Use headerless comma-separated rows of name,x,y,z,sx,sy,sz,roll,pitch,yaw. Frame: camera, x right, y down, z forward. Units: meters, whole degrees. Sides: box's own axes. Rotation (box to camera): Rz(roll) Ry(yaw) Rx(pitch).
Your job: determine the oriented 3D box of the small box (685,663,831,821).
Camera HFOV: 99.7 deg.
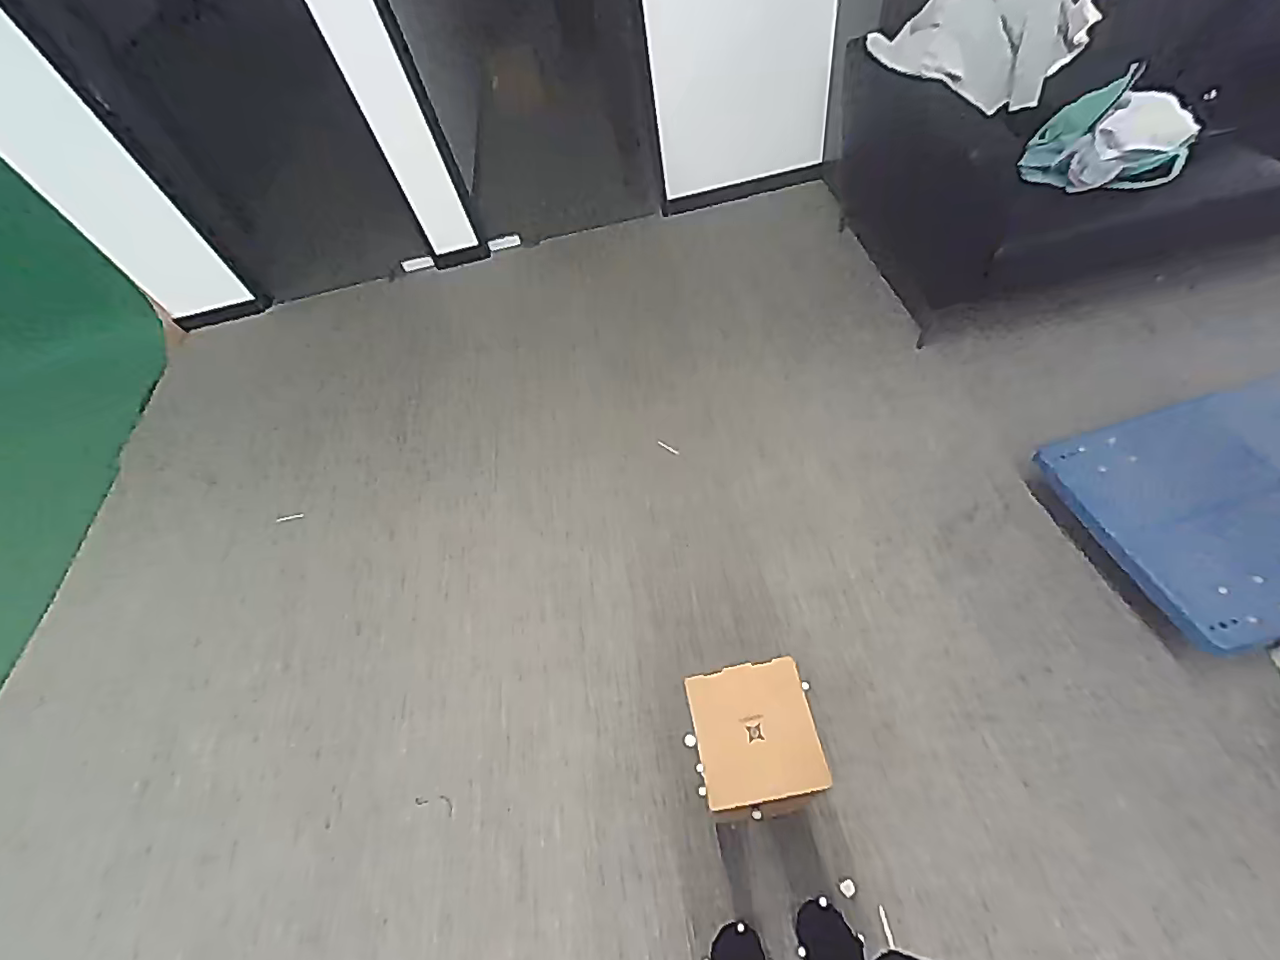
small box,0.170,0.396,0.807,0.168,0.176,0.179,-12,54,2
